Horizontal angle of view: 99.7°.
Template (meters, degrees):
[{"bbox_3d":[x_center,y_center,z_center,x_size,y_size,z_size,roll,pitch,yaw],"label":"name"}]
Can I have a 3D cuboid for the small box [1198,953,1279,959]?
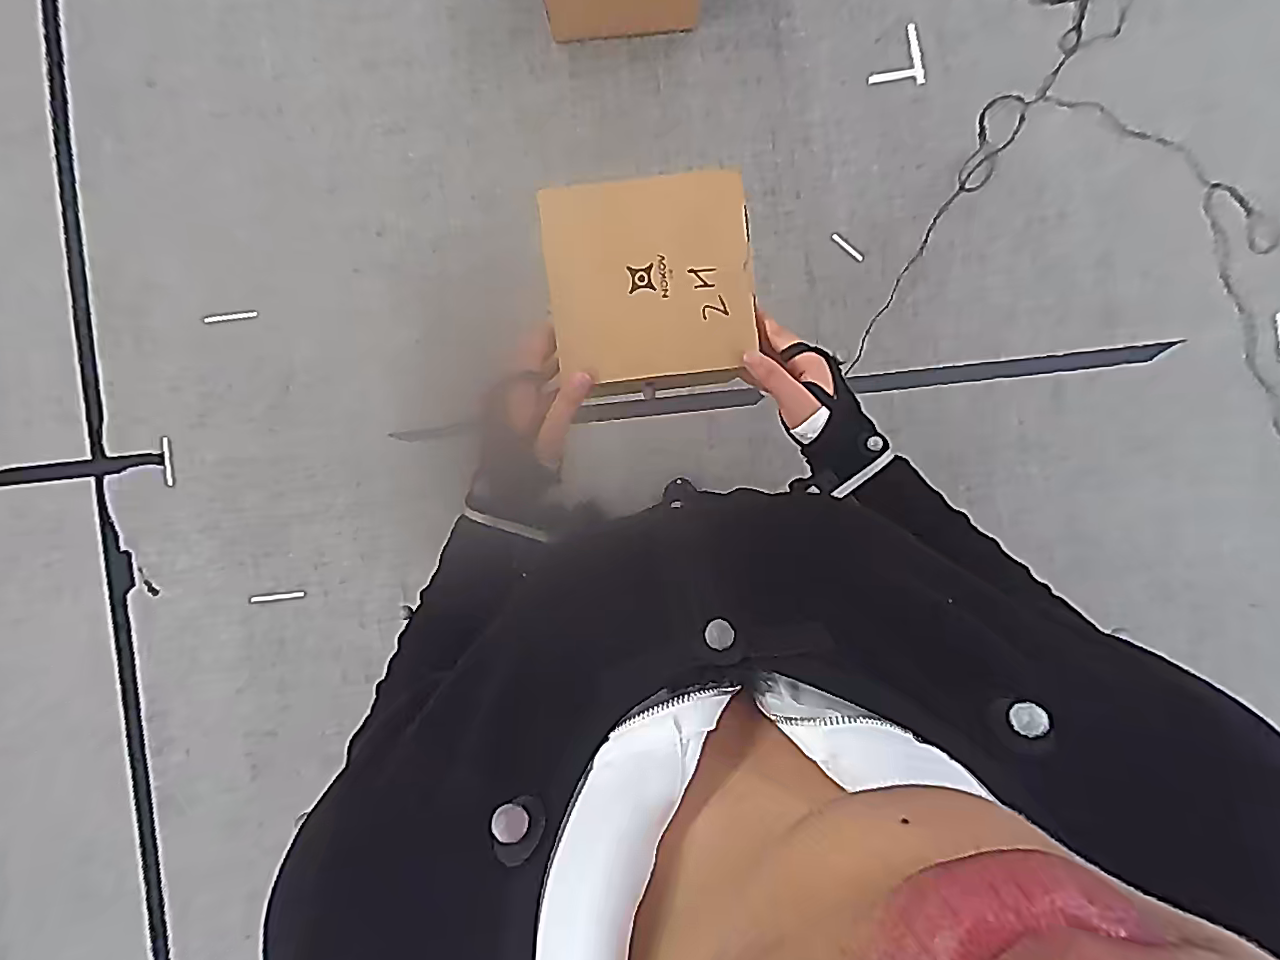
[{"bbox_3d":[0.854,0.751,0.685,0.168,0.176,0.179,-10,90,2],"label":"small box"}]

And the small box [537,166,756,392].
[{"bbox_3d":[0.006,-0.182,0.541,0.179,0.176,0.168,-7,96,-1],"label":"small box"}]
